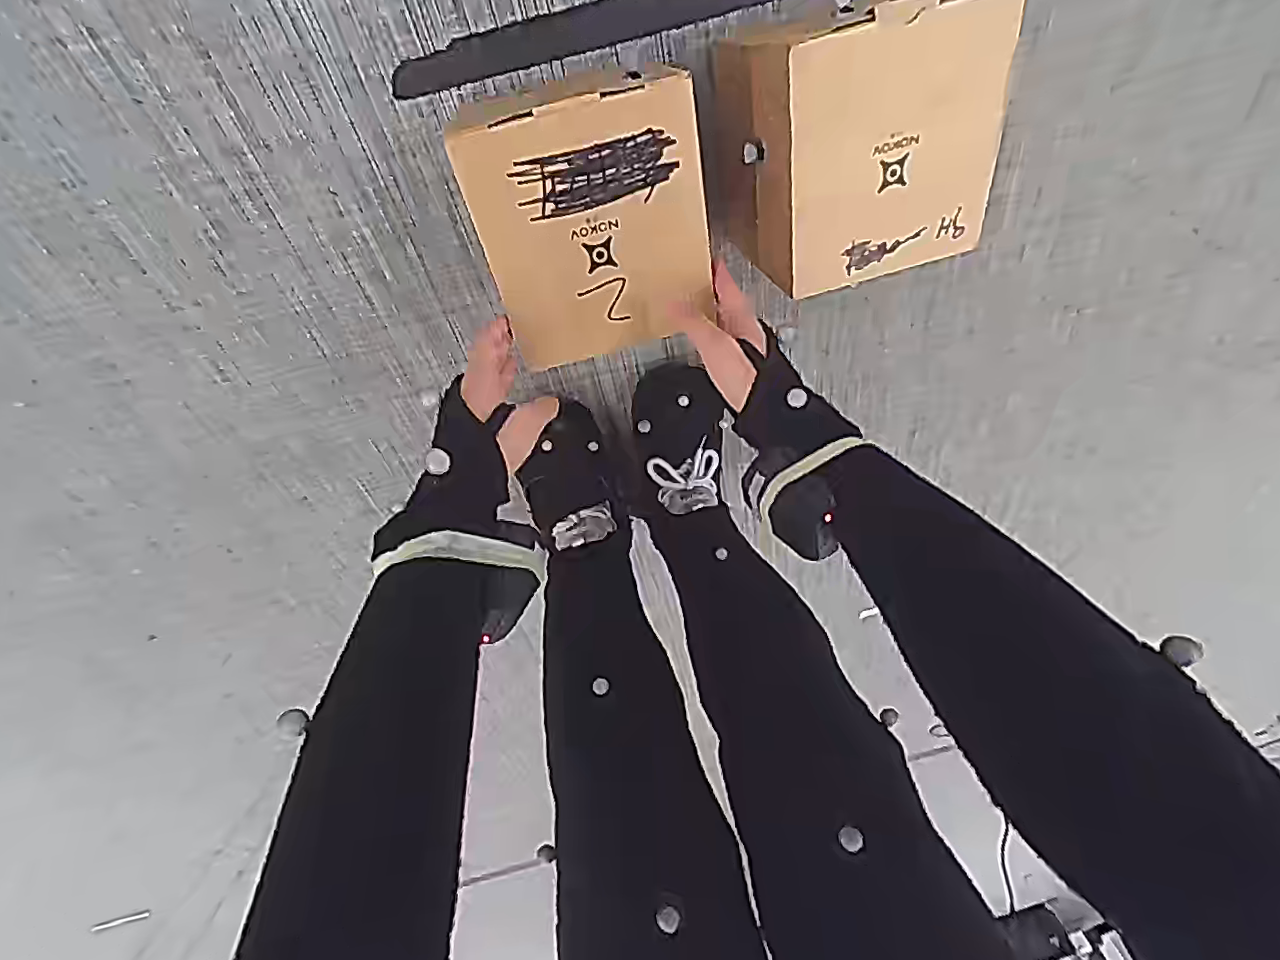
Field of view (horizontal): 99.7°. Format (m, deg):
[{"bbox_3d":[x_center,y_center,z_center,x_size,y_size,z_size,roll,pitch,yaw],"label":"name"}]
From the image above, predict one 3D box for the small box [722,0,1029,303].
[{"bbox_3d":[0.177,-0.281,0.464,0.168,0.176,0.179,-16,130,-2],"label":"small box"}]
